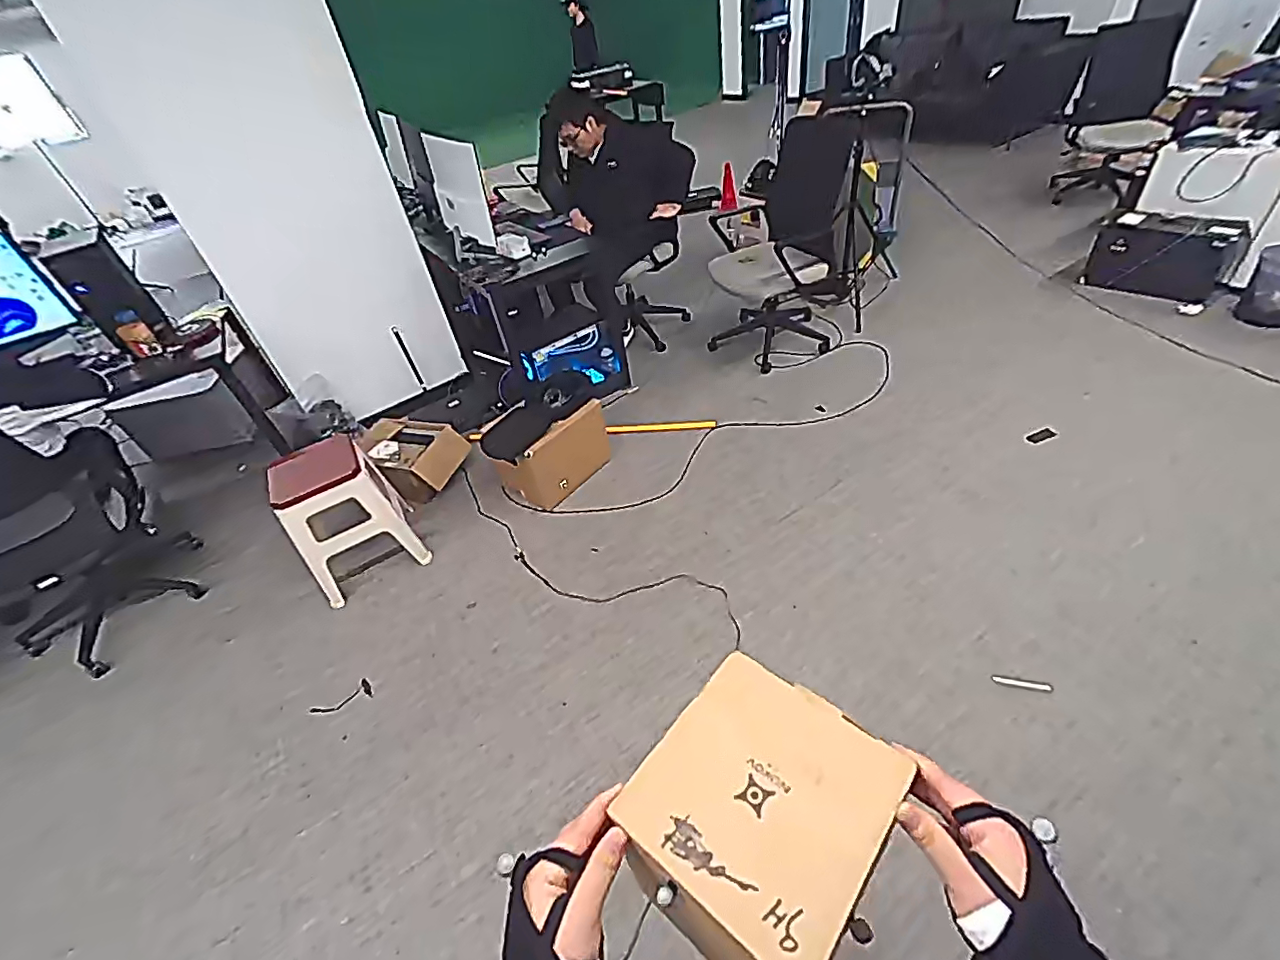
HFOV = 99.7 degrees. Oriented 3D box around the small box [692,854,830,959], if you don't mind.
[{"bbox_3d":[0.215,0.831,0.971,0.179,0.176,0.168,-33,48,-25],"label":"small box"}]
